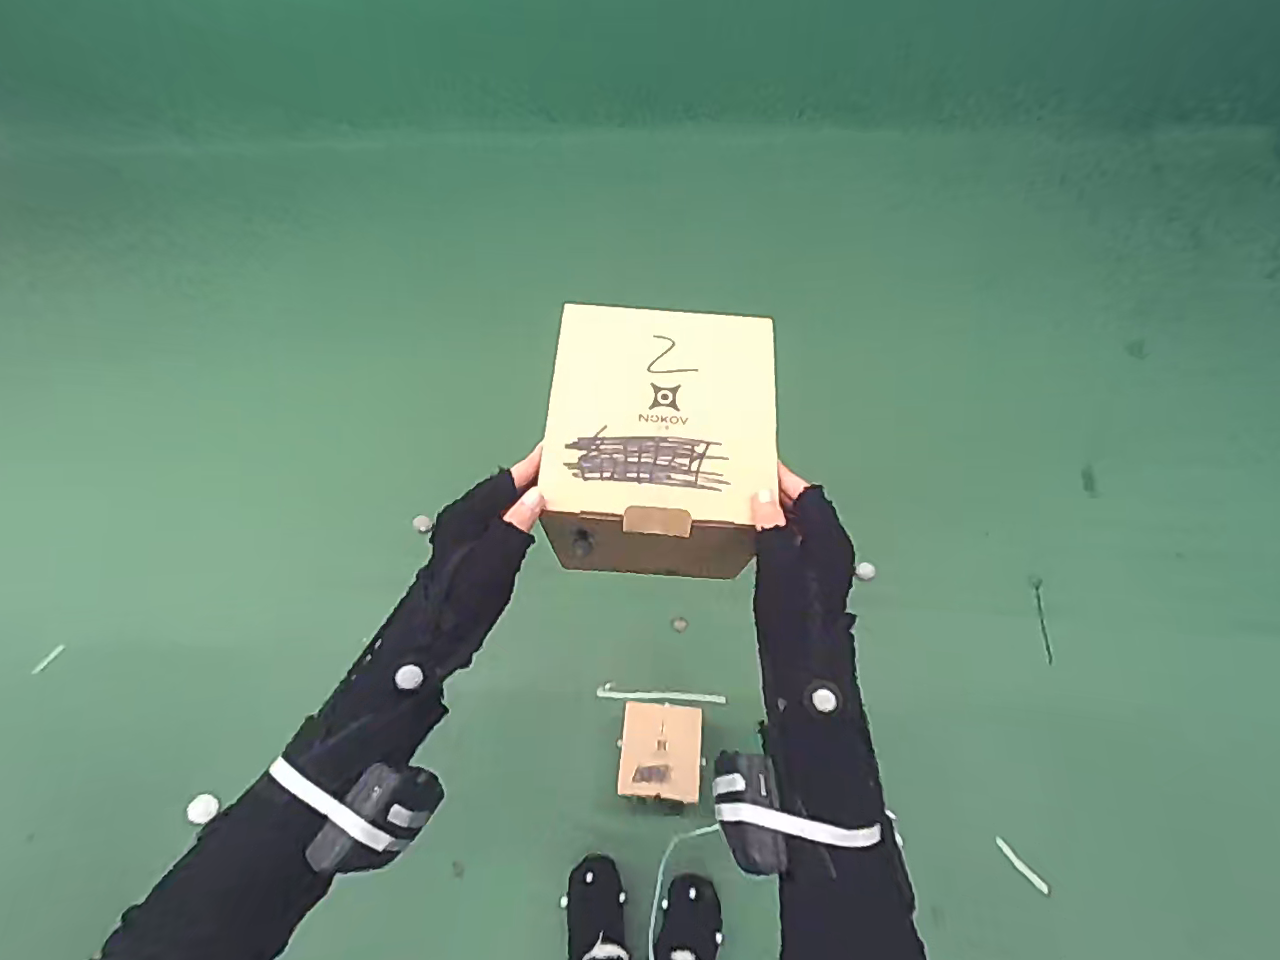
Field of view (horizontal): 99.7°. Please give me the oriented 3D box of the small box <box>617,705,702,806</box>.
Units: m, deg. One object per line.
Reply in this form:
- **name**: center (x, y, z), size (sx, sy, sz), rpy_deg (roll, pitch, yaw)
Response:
- **small box**: center (0.046, 0.606, 1.187), size (0.168, 0.176, 0.179), rpy_deg (4, 60, 4)
